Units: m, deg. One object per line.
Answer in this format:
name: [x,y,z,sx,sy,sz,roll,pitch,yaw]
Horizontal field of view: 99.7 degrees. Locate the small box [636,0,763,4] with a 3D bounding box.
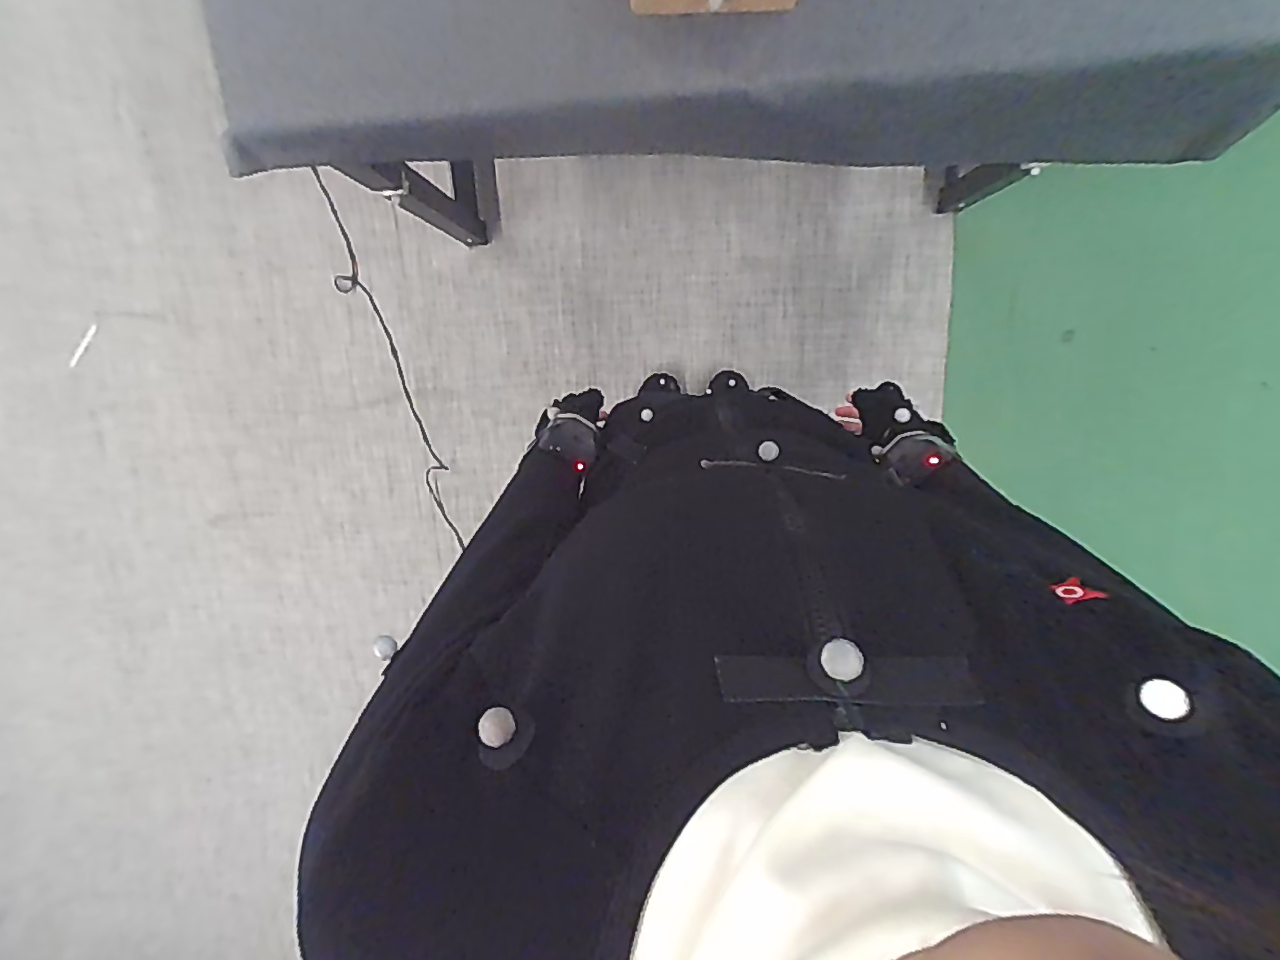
small box: [0.073,-0.576,0.488,0.179,0.176,0.168,0,102,2]
